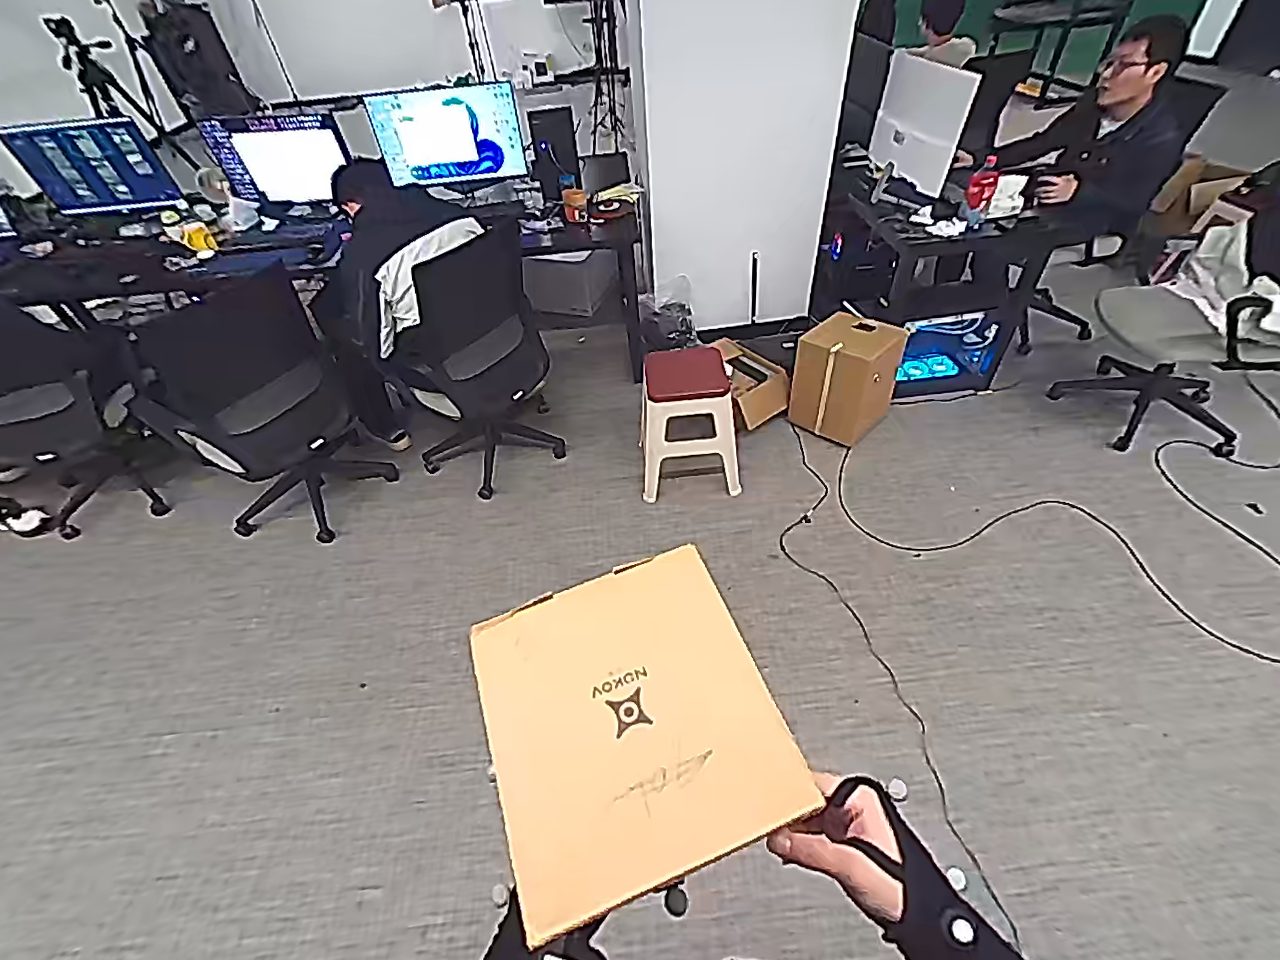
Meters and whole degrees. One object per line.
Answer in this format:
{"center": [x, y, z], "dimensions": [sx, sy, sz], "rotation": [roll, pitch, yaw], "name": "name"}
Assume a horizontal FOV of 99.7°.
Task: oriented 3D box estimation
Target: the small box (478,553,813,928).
{"center": [-0.003, 0.188, 0.398], "dimensions": [0.168, 0.176, 0.179], "rotation": [-19, 55, -8], "name": "small box"}
